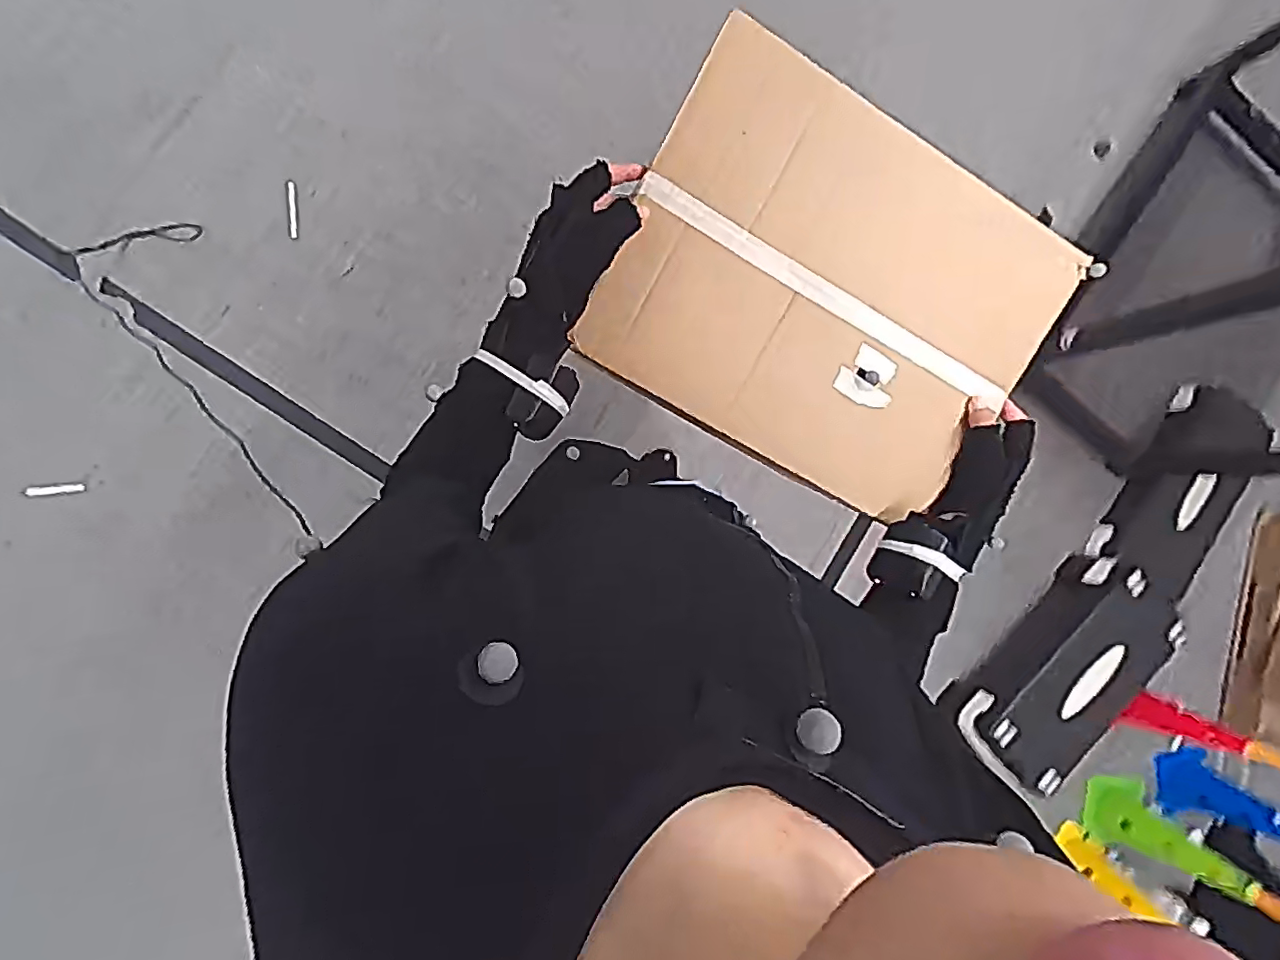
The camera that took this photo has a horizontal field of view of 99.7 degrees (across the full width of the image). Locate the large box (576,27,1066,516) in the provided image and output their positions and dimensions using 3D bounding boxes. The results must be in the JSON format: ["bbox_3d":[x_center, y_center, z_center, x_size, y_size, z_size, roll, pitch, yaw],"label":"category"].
[{"bbox_3d":[0.165,-0.208,0.666,0.408,0.320,0.320,28,99,-10],"label":"large box"}]
